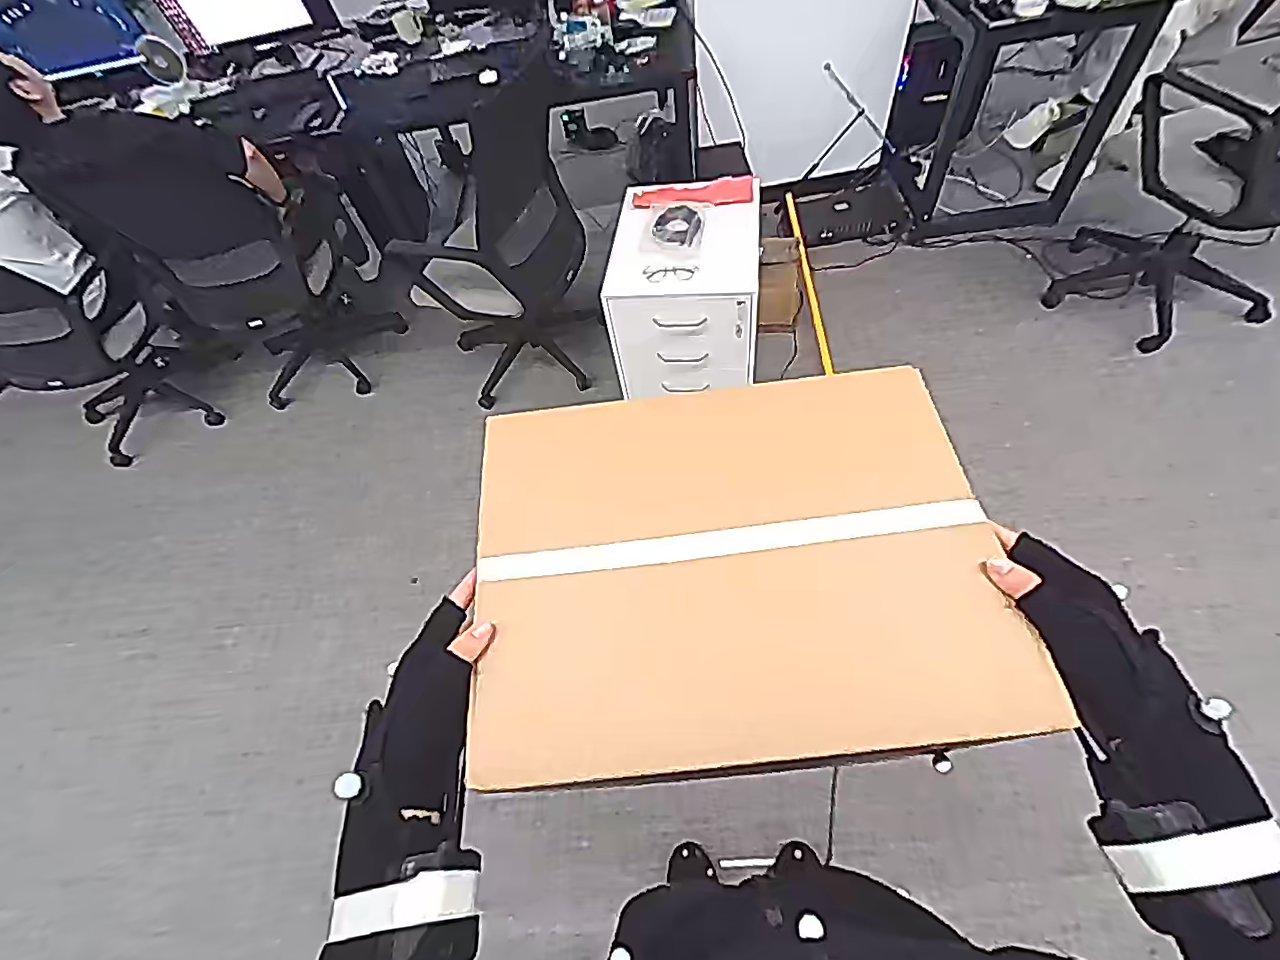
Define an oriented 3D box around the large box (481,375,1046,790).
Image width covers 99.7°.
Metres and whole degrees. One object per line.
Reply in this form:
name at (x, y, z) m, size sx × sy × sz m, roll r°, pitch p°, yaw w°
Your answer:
large box at (0.084, 0.128, 0.575) m, size 0.408 × 0.320 × 0.320 m, roll -7°, pitch 60°, yaw 2°
